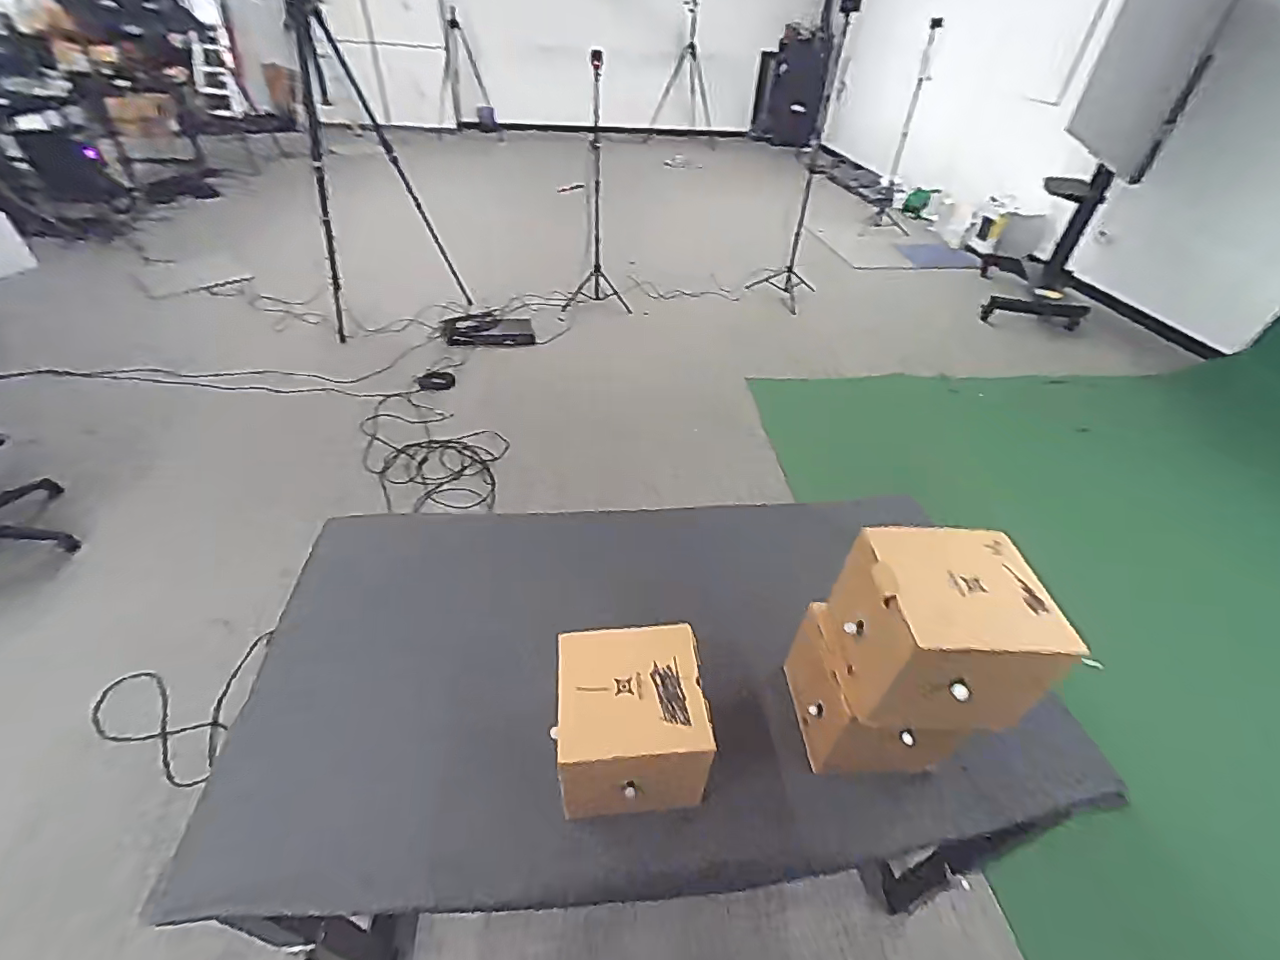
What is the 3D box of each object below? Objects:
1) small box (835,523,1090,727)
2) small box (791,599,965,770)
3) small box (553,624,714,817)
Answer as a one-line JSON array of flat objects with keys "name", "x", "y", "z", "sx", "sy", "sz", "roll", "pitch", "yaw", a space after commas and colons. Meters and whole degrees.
[{"name": "small box", "x": 0.341, "y": 0.168, "z": 0.623, "sx": 0.179, "sy": 0.176, "sz": 0.168, "roll": 2, "pitch": 41, "yaw": -1}, {"name": "small box", "x": 0.320, "y": 0.281, "z": 0.741, "sx": 0.179, "sy": 0.176, "sz": 0.168, "roll": 1, "pitch": 41, "yaw": -5}, {"name": "small box", "x": -0.014, "y": 0.305, "z": 0.687, "sx": 0.179, "sy": 0.176, "sz": 0.168, "roll": -3, "pitch": 40, "yaw": -5}]
